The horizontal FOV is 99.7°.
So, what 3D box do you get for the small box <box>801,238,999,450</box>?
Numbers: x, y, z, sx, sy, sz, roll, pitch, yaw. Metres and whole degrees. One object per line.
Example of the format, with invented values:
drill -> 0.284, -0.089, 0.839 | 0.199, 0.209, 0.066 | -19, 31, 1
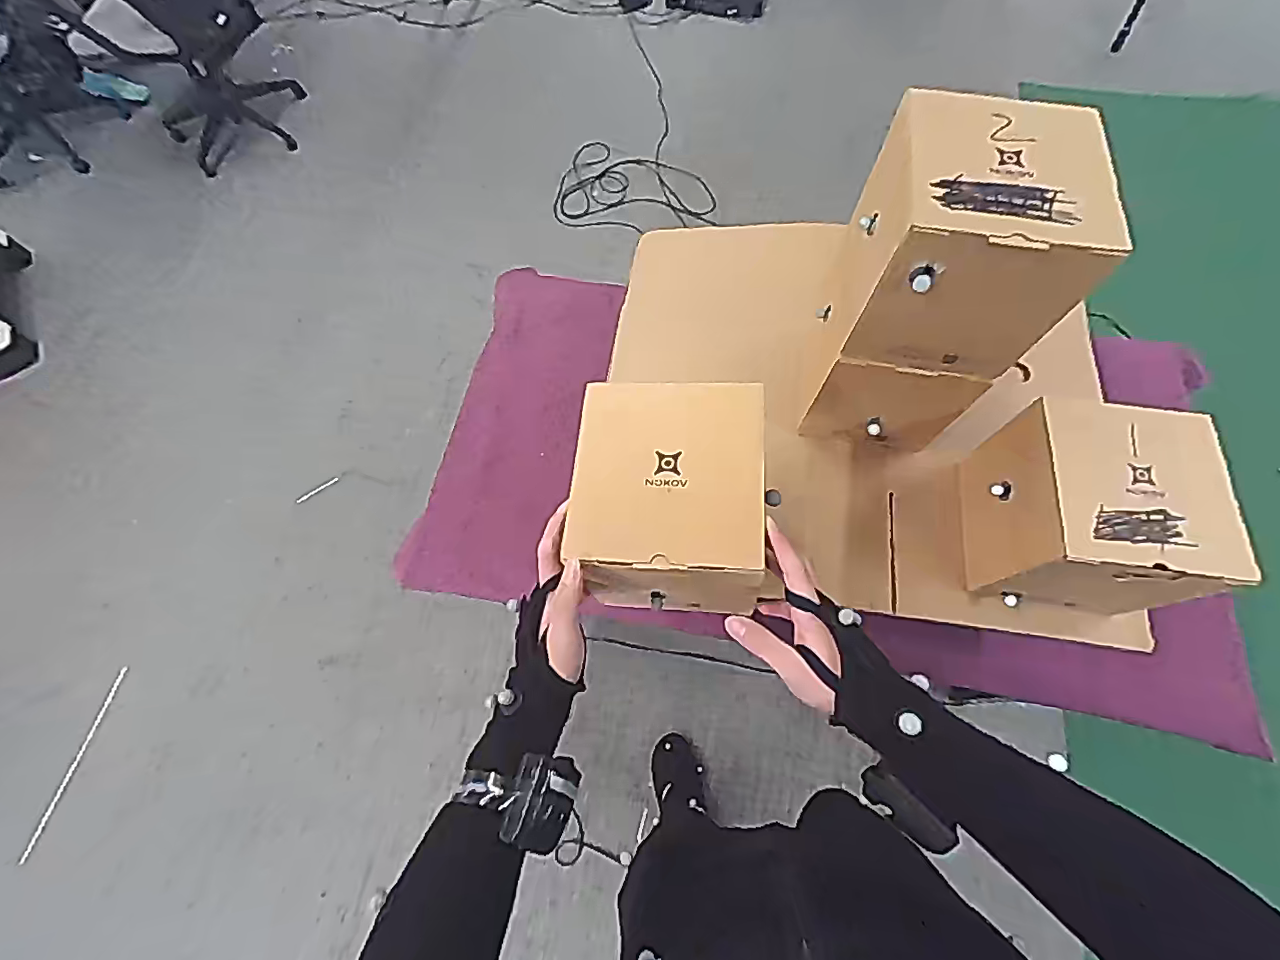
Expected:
small box -> 0.305, -0.161, 0.668 | 0.168, 0.176, 0.179 | 9, 67, 4
